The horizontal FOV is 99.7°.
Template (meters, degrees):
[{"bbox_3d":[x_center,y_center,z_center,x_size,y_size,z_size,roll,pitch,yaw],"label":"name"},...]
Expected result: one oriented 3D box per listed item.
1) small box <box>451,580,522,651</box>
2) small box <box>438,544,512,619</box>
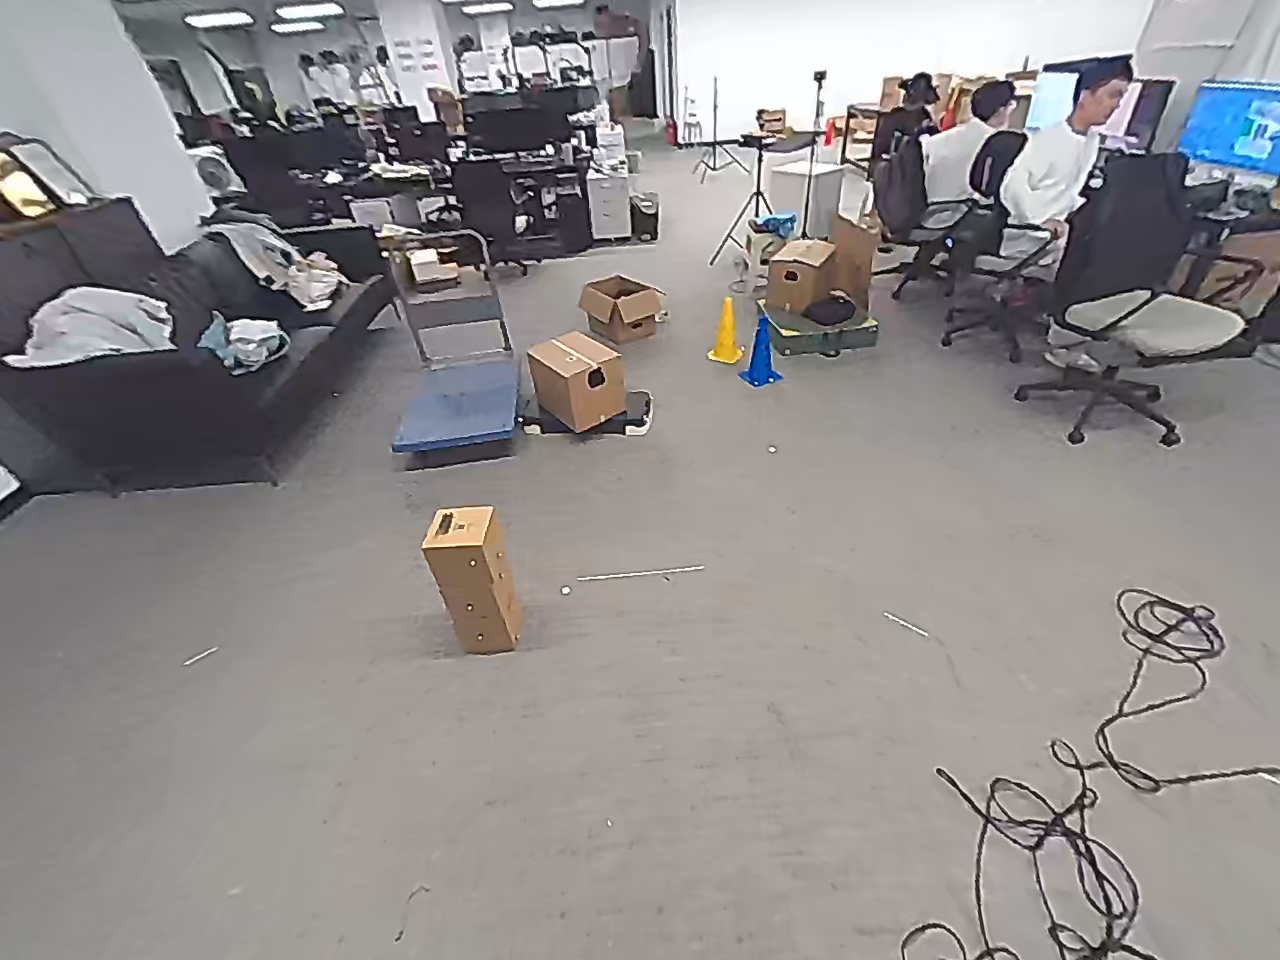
[{"bbox_3d":[-0.505,0.454,1.812,0.179,0.176,0.168,-5,39,2],"label":"small box"},{"bbox_3d":[-0.512,0.325,1.710,0.168,0.176,0.179,-3,38,2],"label":"small box"}]
